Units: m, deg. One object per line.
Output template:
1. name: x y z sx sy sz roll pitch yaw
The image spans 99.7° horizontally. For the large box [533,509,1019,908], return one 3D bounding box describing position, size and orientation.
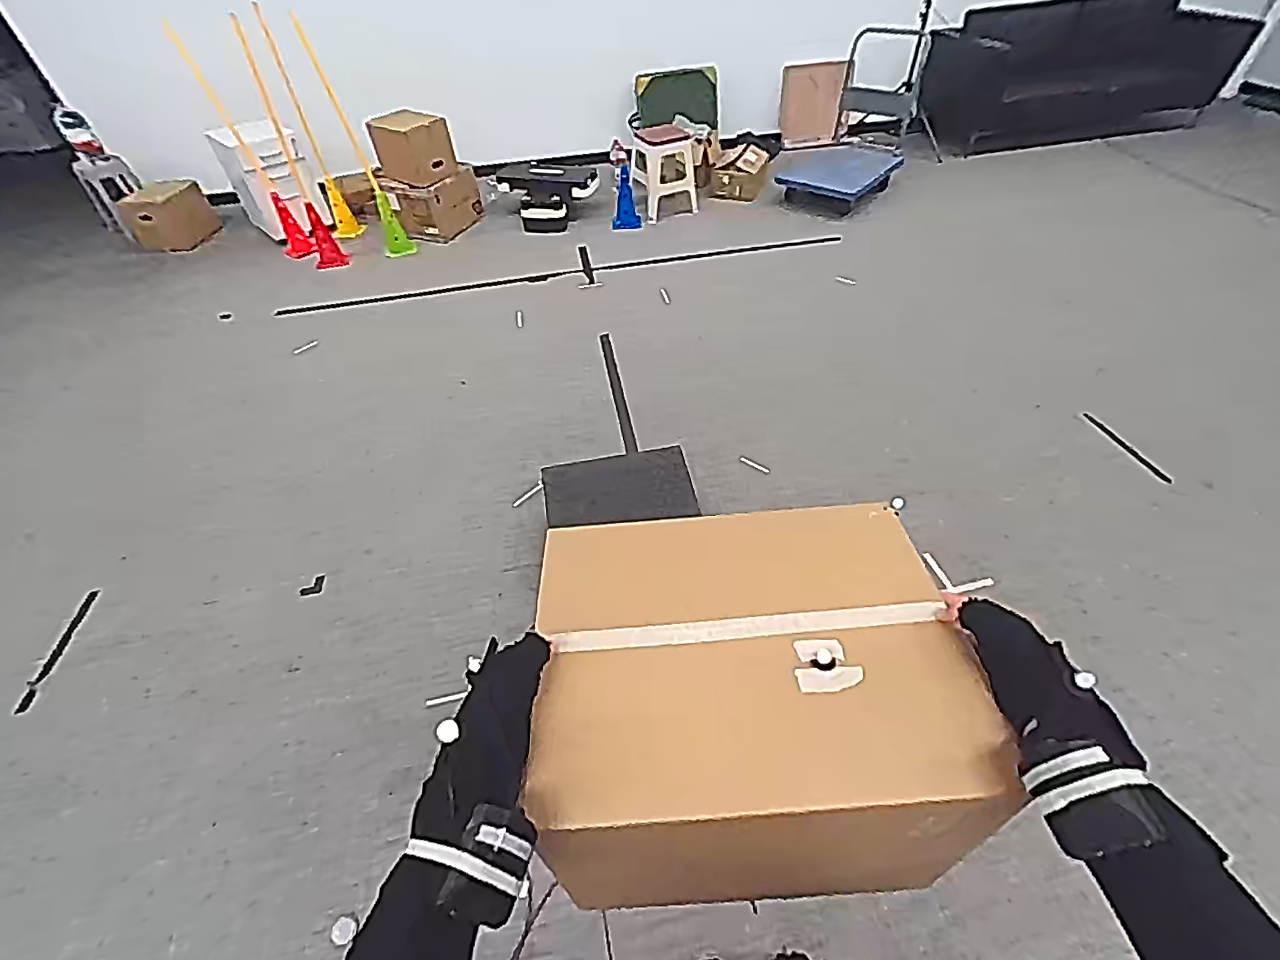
1. large box: 0.110 0.265 0.640 0.408 0.320 0.320 -5 42 1
